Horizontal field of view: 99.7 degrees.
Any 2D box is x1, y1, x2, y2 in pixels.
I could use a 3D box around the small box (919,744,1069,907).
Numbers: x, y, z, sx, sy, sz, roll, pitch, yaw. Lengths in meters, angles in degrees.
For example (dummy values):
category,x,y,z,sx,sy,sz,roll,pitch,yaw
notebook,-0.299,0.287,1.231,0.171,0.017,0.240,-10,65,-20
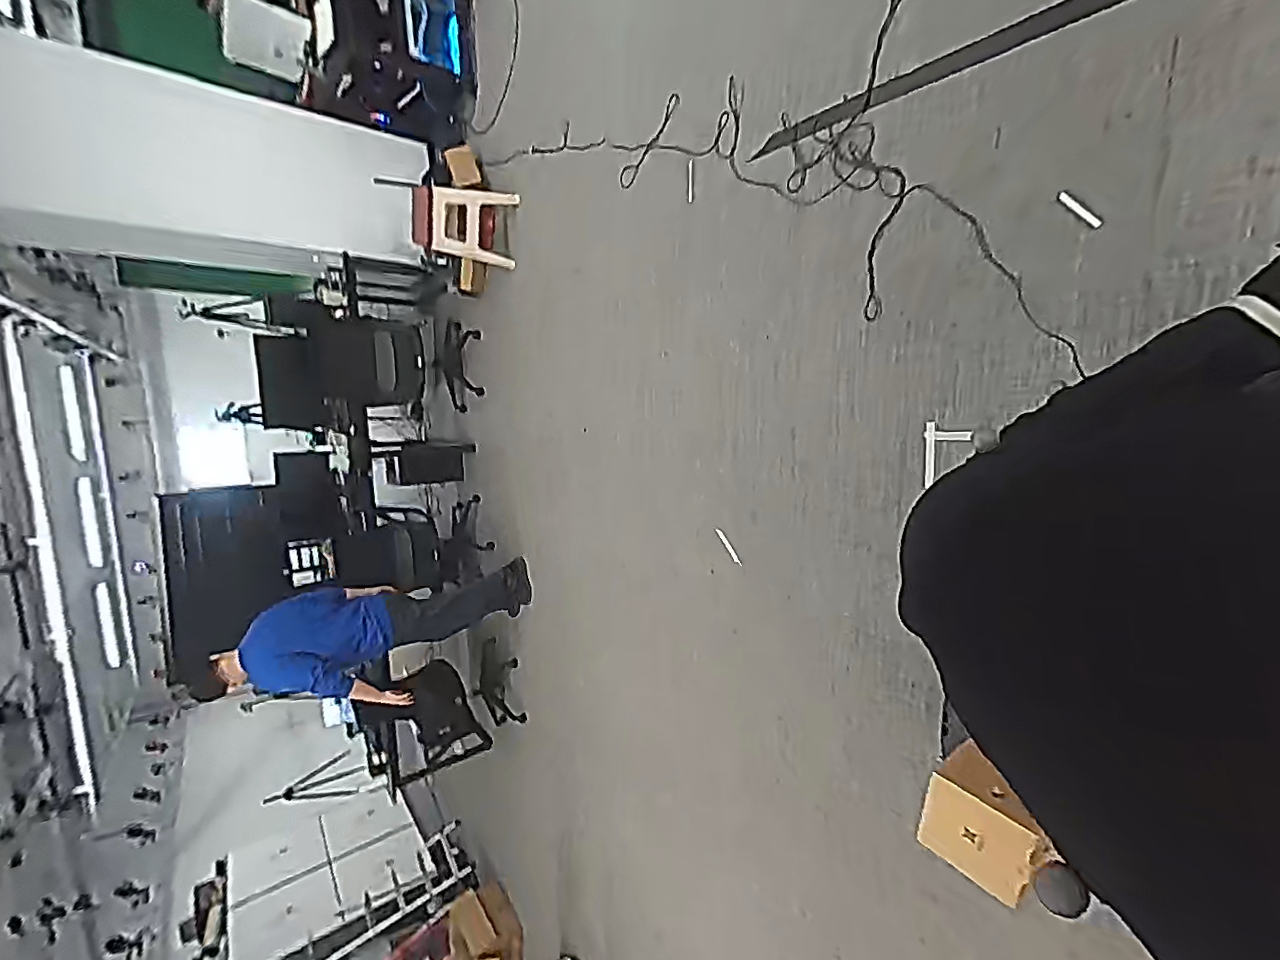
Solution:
category,x,y,z,sx,sy,sz,roll,pitch,yaw
small box,0.671,0.637,1.029,0.179,0.176,0.168,20,111,49
